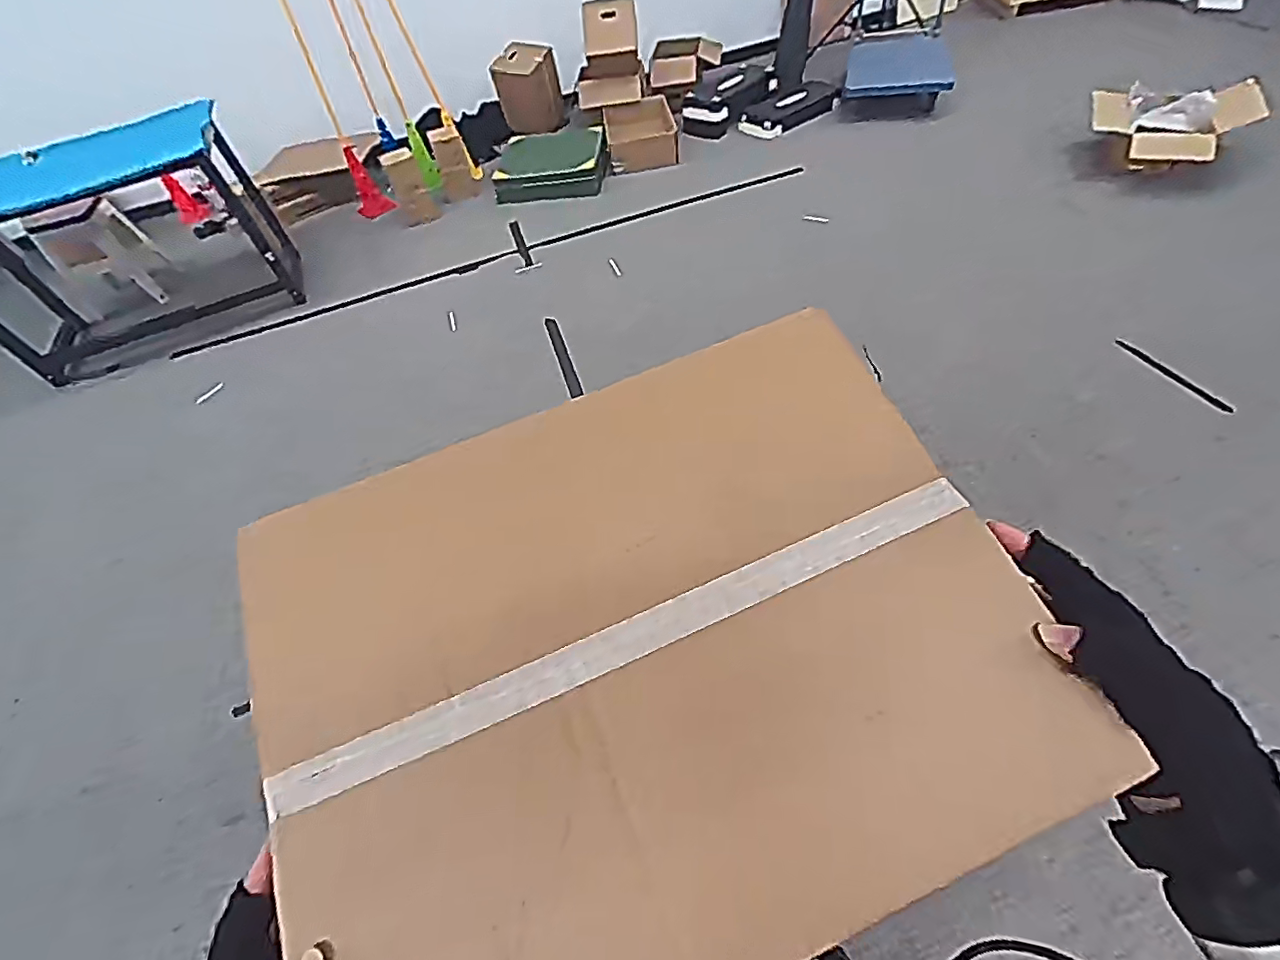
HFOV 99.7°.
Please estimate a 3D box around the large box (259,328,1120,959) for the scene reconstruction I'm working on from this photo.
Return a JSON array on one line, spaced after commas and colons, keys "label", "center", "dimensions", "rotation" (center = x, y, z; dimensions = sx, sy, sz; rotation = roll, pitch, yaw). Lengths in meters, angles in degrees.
[{"label": "large box", "center": [0.012, 0.152, 0.439], "dimensions": [0.408, 0.320, 0.320], "rotation": [-23, 67, -6]}]
